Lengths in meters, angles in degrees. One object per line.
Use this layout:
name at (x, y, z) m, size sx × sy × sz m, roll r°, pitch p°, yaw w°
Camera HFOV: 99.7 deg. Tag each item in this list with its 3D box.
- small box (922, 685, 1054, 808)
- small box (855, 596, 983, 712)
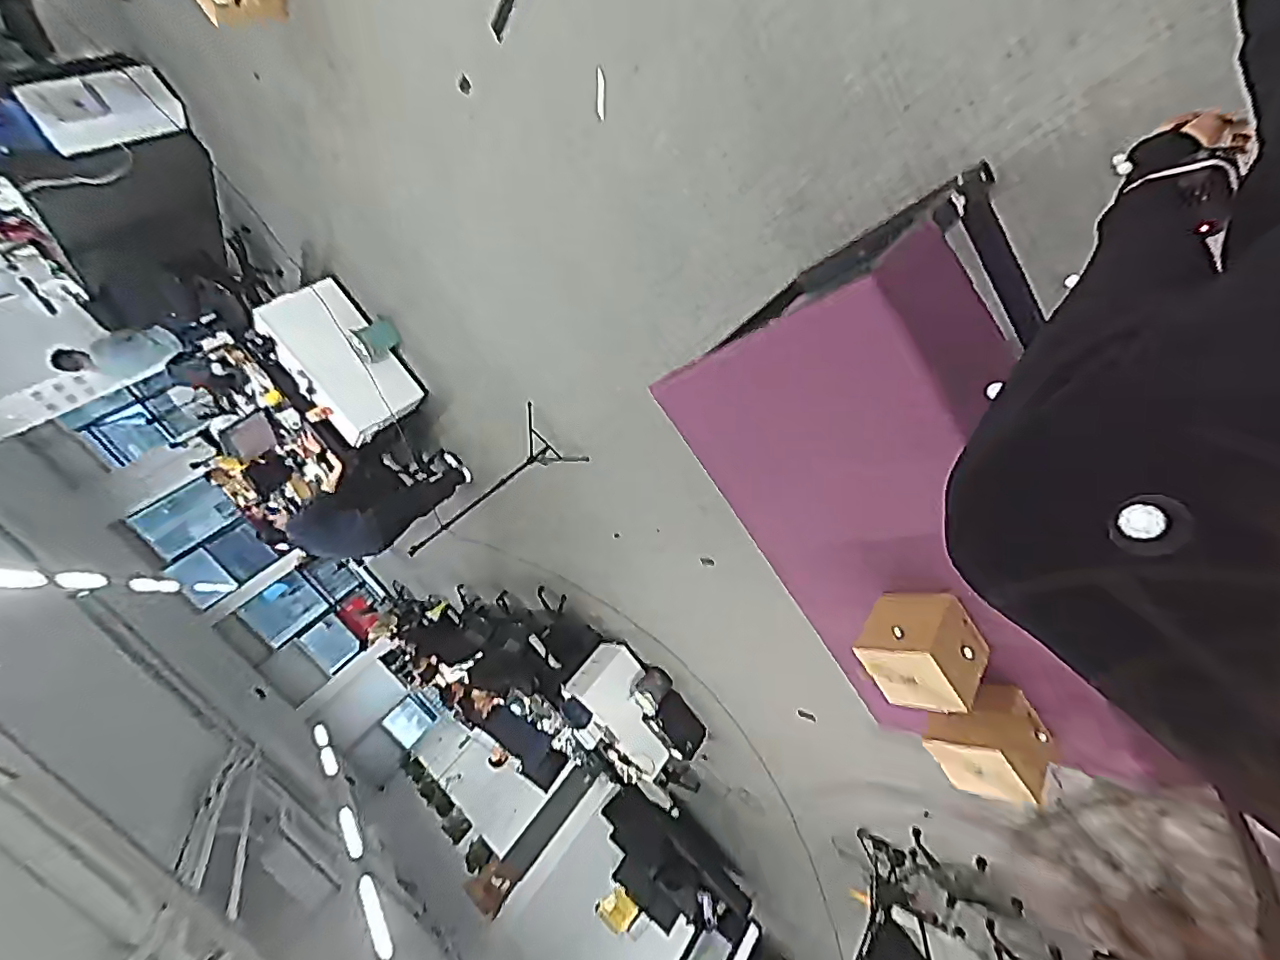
small box at (0.774, 0.577, 1.202) m, size 0.168 × 0.176 × 0.179 m, roll 52°, pitch 147°, yaw -10°
small box at (0.606, 0.363, 1.160) m, size 0.168 × 0.176 × 0.179 m, roll 54°, pitch 147°, yaw -11°
